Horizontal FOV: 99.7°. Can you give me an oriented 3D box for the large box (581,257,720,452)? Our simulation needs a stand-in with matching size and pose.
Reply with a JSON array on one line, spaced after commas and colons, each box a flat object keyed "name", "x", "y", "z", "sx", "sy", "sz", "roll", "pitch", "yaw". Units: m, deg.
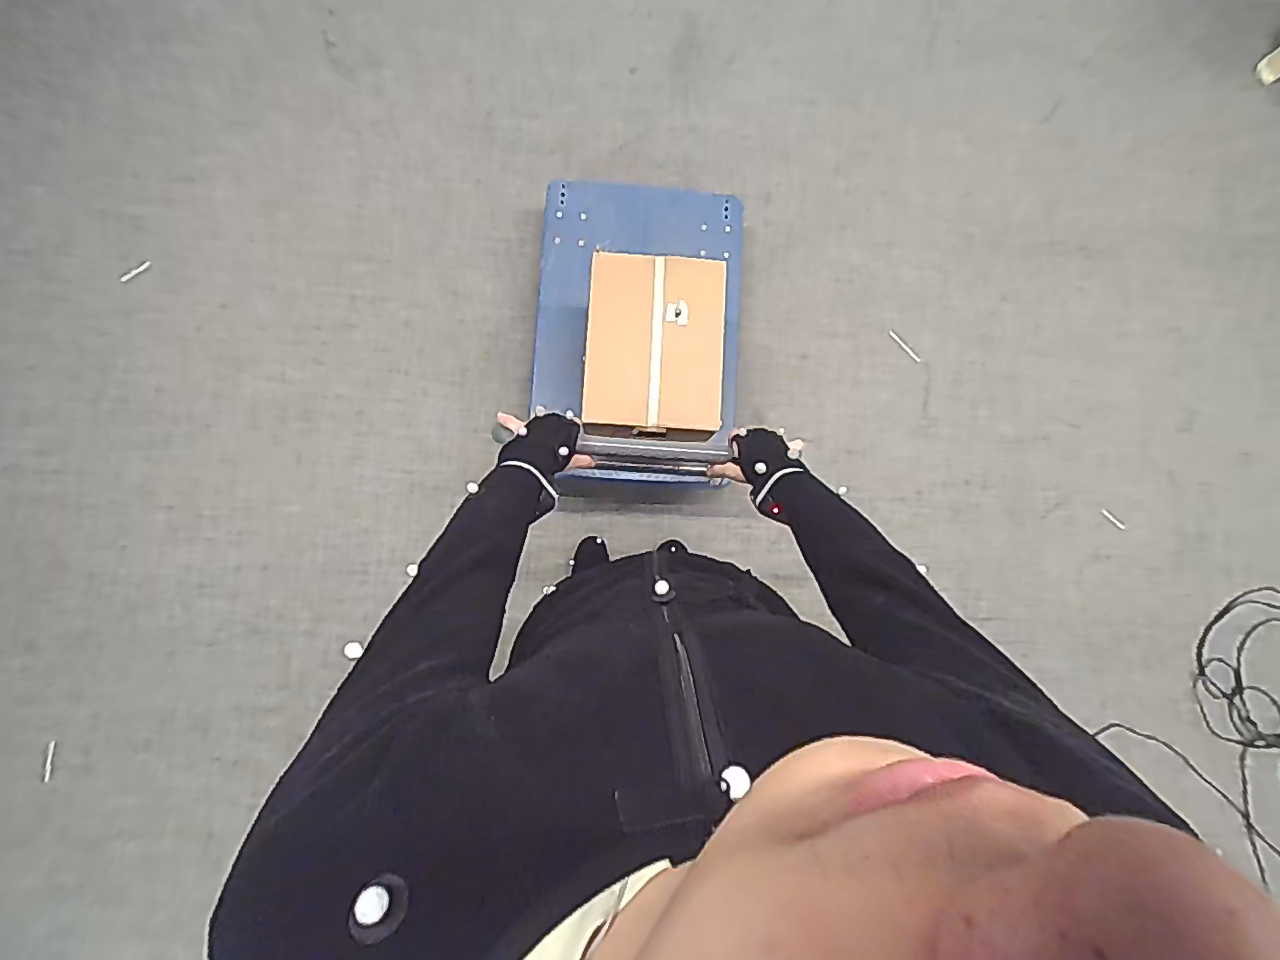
[{"name": "large box", "x": 0.020, "y": -0.294, "z": 1.374, "sx": 0.320, "sy": 0.320, "sz": 0.408, "roll": 3, "pitch": 82, "yaw": -4}]
